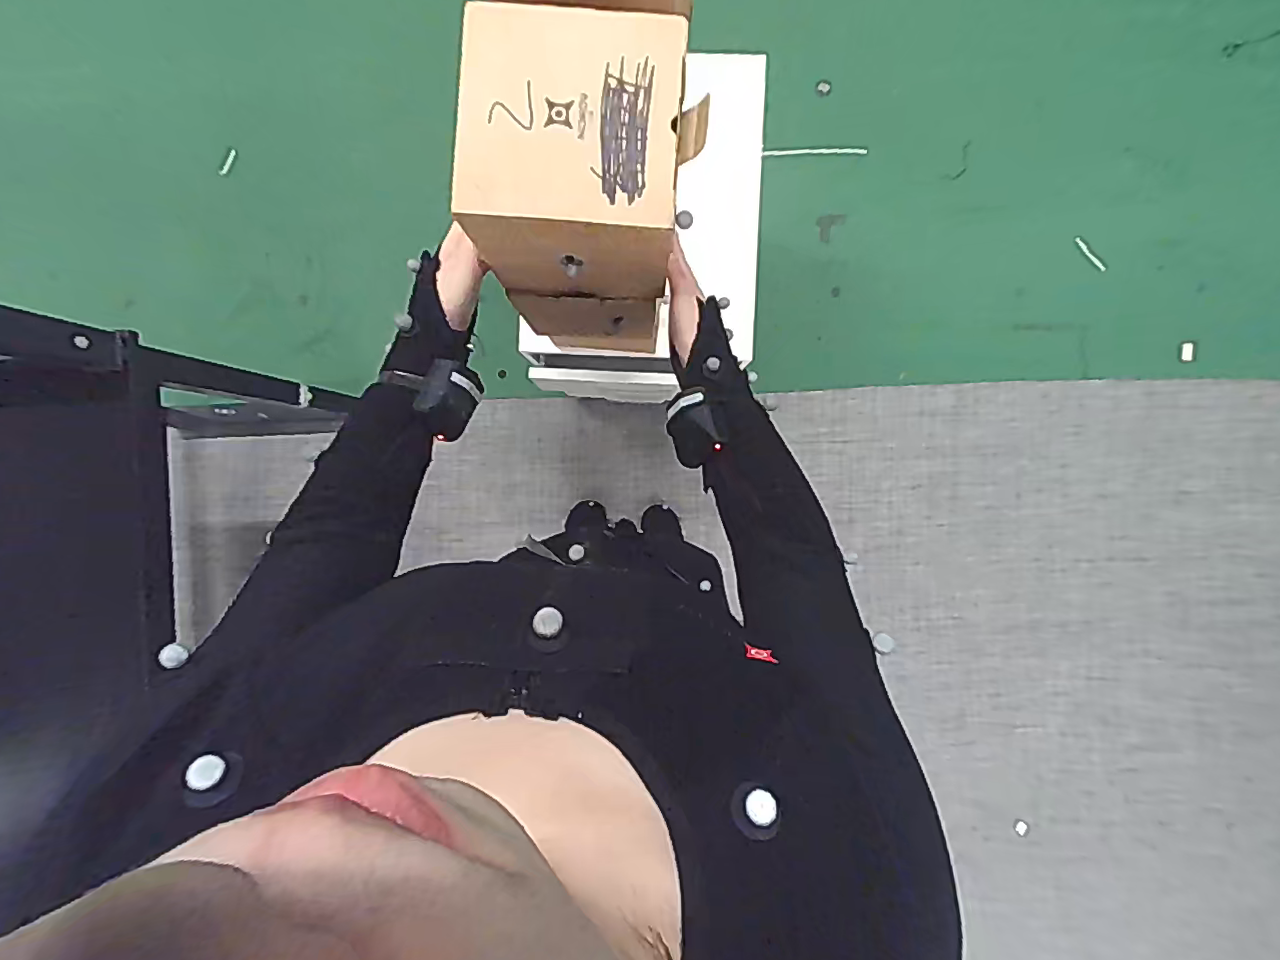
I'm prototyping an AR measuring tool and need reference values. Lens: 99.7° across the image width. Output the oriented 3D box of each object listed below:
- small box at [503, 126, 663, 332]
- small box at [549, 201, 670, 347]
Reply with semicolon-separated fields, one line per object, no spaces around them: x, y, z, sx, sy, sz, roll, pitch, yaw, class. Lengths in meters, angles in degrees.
-0.060;-0.284;0.650;0.168;0.176;0.179;2;90;-1;small box
-0.052;-0.304;0.812;0.179;0.176;0.168;5;91;0;small box
